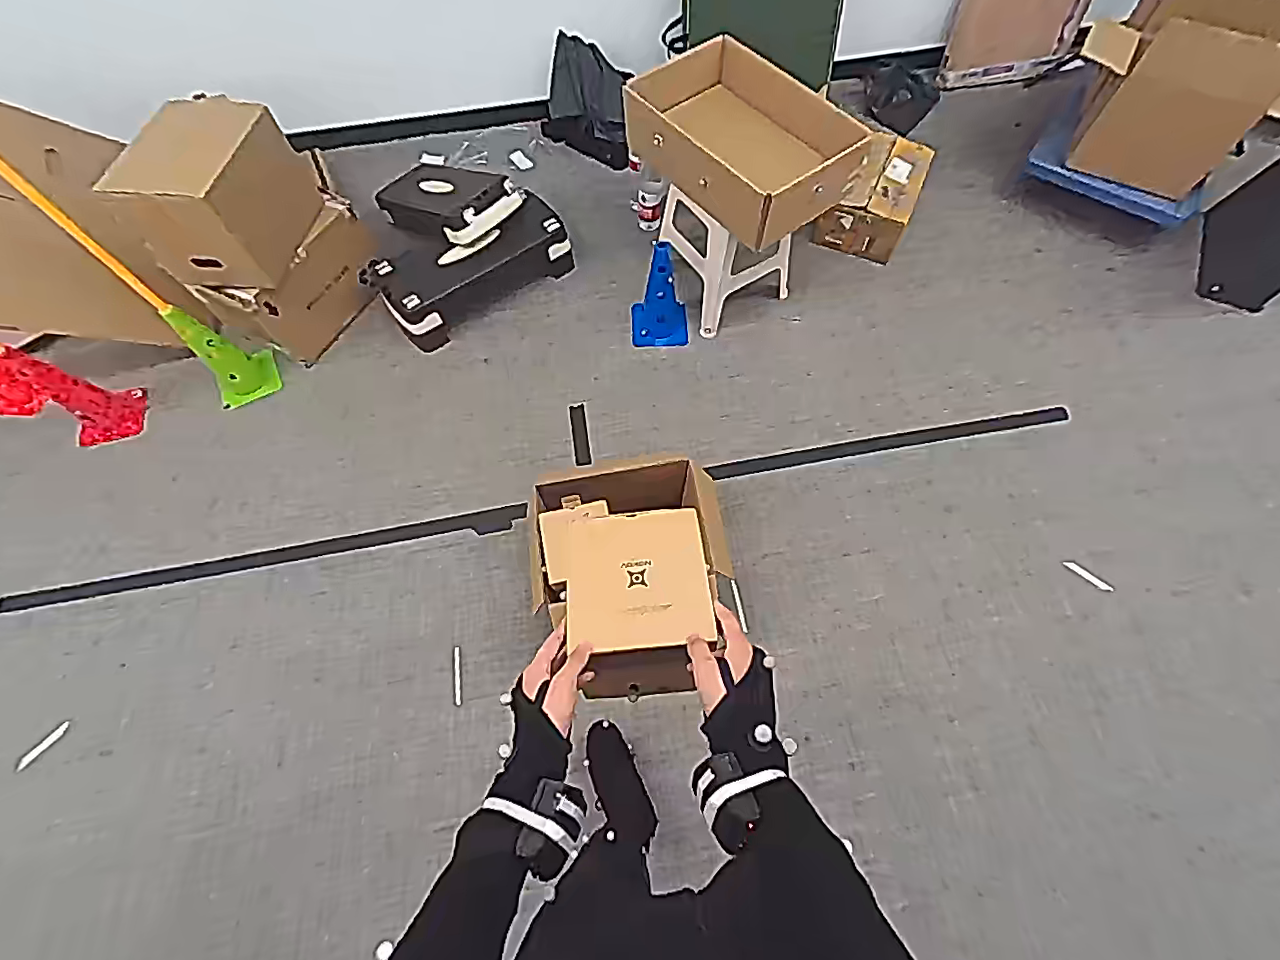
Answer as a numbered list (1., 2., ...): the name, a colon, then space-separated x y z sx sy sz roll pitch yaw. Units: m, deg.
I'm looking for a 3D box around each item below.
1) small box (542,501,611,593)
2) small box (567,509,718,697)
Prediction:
1. small box: -0.138 0.173 1.331 0.168 0.176 0.179 -10 66 -4
2. small box: 0.002 0.159 0.691 0.168 0.176 0.179 -4 52 0
